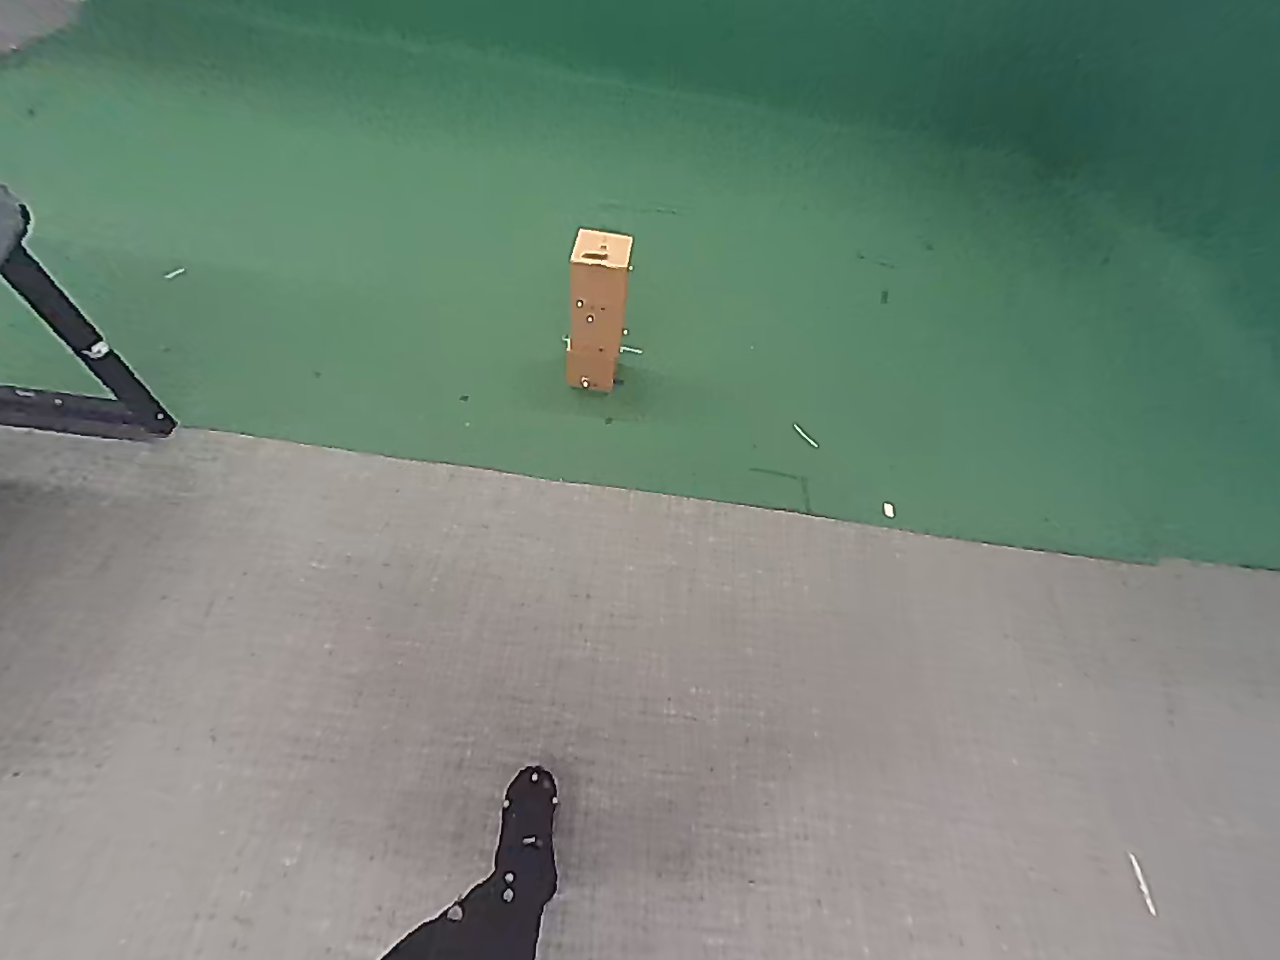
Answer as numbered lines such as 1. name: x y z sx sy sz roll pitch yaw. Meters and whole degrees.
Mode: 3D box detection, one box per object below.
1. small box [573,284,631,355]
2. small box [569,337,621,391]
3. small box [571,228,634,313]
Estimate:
1. small box: -0.129 -0.543 1.791 0.168 0.176 0.179 8 53 -1
2. small box: -0.156 -0.446 1.920 0.168 0.176 0.179 8 55 -1
3. small box: -0.114 -0.638 1.657 0.168 0.176 0.179 9 53 -2
